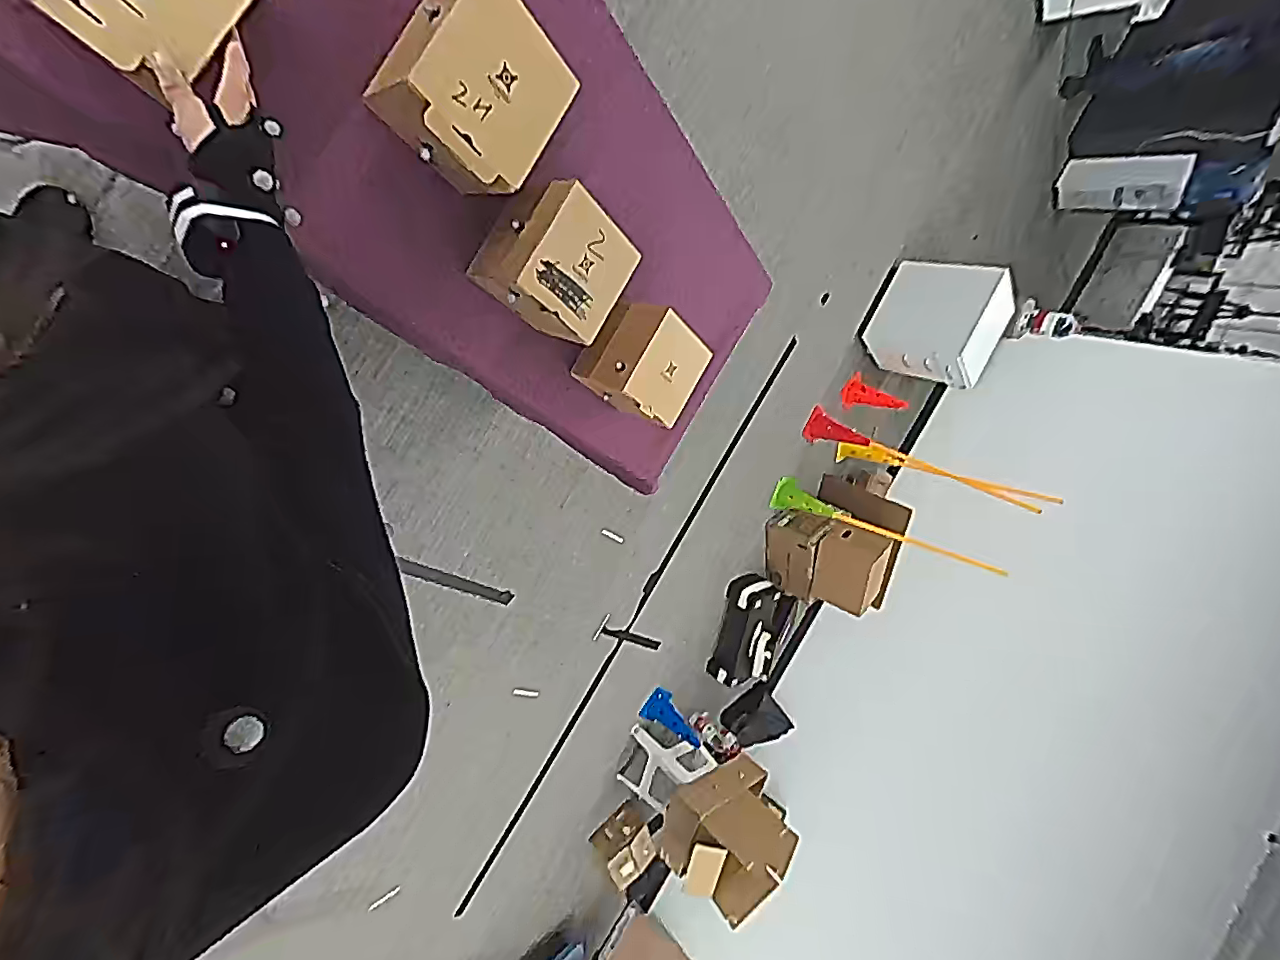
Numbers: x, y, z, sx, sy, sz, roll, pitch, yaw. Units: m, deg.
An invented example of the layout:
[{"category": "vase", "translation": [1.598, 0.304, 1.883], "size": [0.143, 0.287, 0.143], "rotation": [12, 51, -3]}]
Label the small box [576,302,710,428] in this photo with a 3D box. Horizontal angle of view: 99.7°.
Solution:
[{"category": "small box", "translation": [0.003, -0.233, 1.079], "size": [0.168, 0.176, 0.179], "rotation": [31, 88, -48]}]

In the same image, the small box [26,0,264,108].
[{"category": "small box", "translation": [-0.465, -0.482, 0.495], "size": [0.168, 0.176, 0.179], "rotation": [36, 83, -48]}]

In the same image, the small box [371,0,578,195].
[{"category": "small box", "translation": [-0.223, -0.510, 0.716], "size": [0.168, 0.176, 0.179], "rotation": [33, 86, -47]}]
